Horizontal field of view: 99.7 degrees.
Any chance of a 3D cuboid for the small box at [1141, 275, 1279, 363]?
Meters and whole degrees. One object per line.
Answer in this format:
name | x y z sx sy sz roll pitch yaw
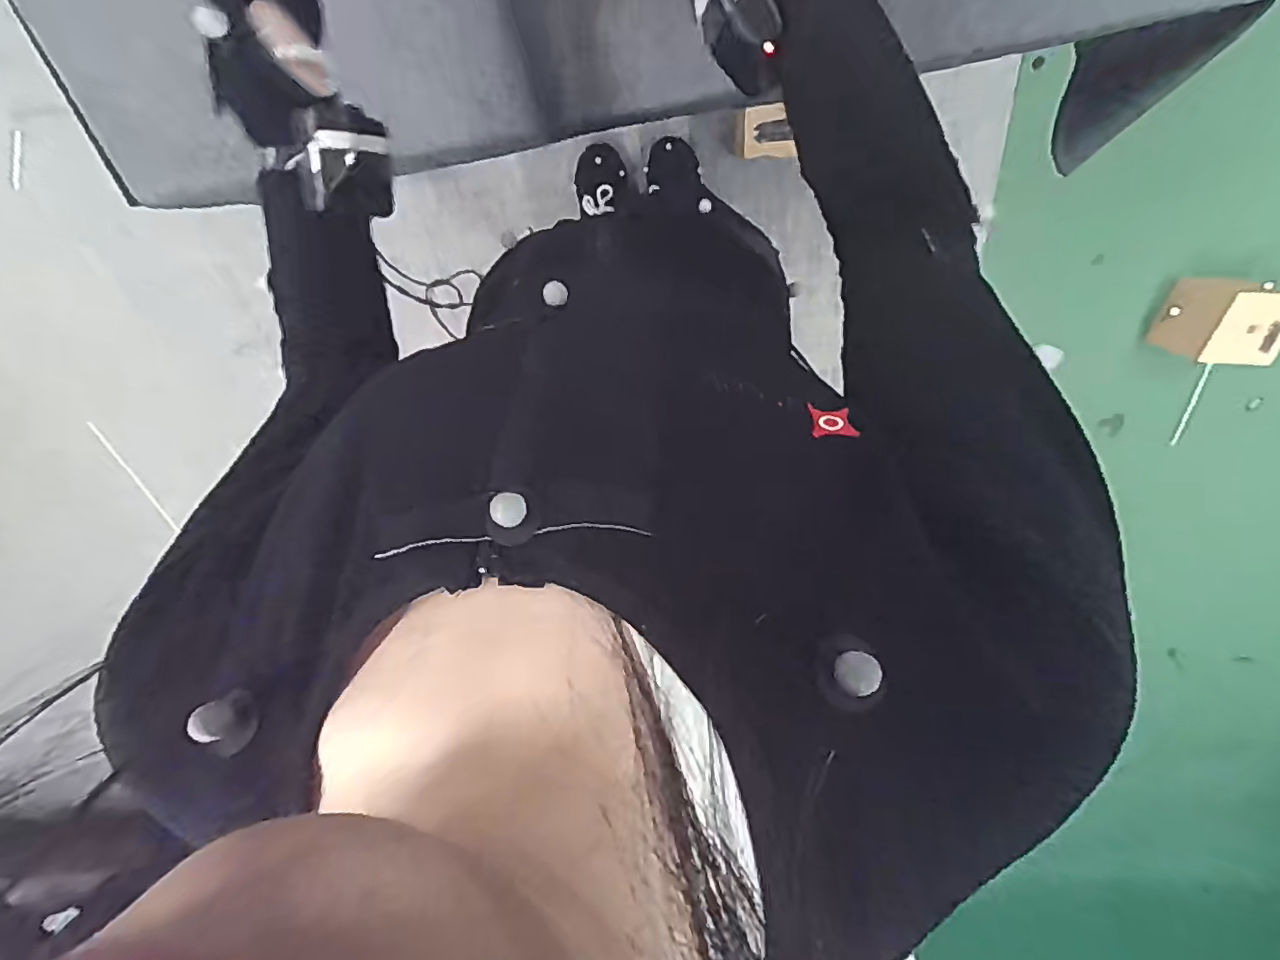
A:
small box | 1.406 -0.396 1.319 0.179 0.176 0.168 3 123 0
